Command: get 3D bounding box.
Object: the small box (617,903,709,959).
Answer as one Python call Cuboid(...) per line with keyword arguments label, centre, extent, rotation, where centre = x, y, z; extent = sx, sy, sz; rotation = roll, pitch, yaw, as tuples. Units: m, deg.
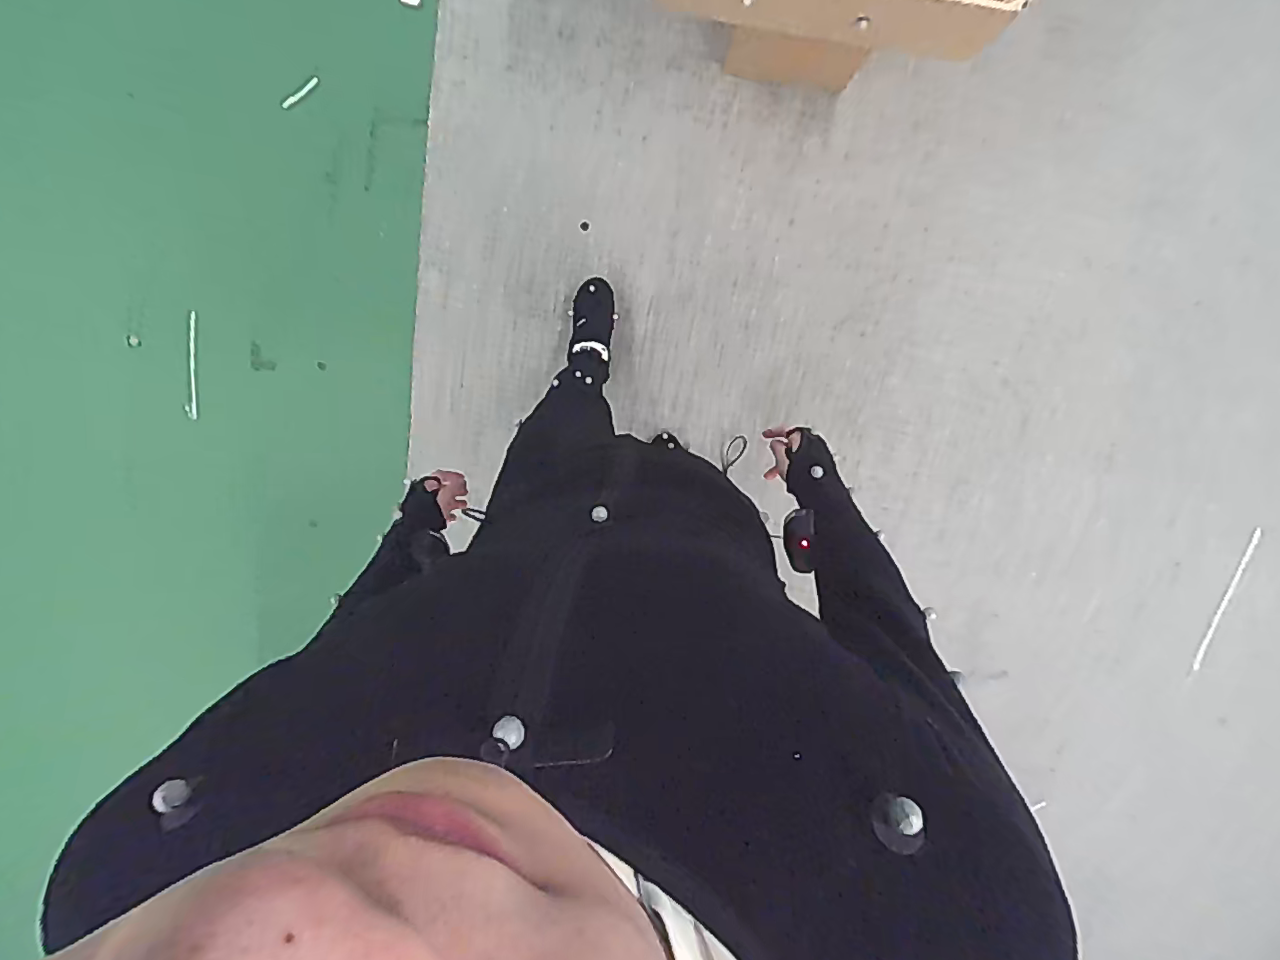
Cuboid(label="small box", centre=(0.039, 0.955, 1.020), extent=(0.168, 0.176, 0.179), rotation=(8, 105, 0))
